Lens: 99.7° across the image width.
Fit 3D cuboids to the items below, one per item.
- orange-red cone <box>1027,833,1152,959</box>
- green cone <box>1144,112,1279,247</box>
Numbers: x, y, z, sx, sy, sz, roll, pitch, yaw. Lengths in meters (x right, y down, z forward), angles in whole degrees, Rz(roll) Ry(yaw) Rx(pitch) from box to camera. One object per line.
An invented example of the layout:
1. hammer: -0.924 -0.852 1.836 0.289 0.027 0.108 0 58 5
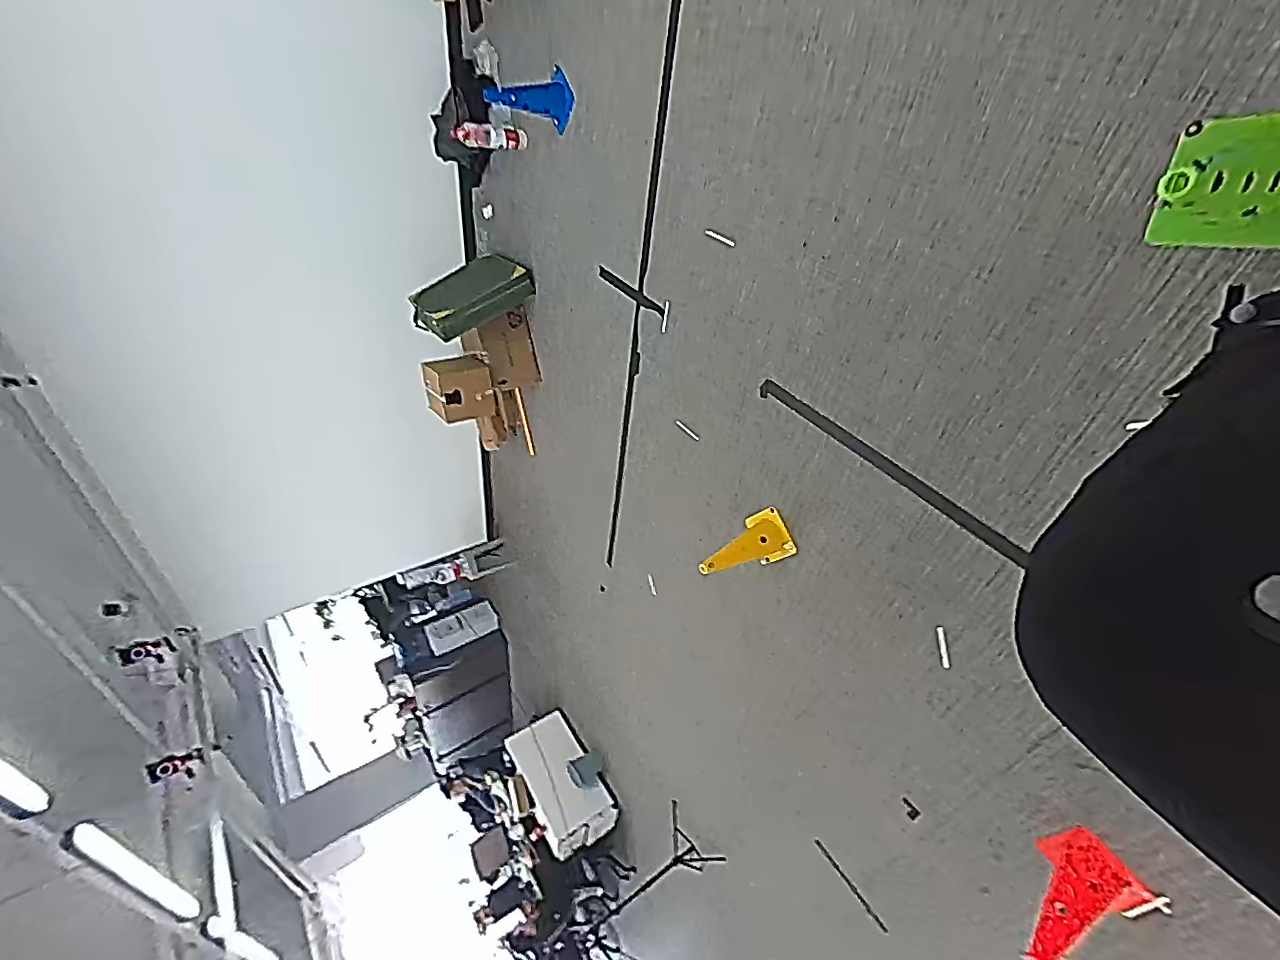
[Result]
1. orange-red cone: 1.091 1.124 1.389 0.199 0.360 0.198 52 144 31
2. green cone: 0.882 -0.458 0.836 0.202 0.368 0.200 30 131 47
